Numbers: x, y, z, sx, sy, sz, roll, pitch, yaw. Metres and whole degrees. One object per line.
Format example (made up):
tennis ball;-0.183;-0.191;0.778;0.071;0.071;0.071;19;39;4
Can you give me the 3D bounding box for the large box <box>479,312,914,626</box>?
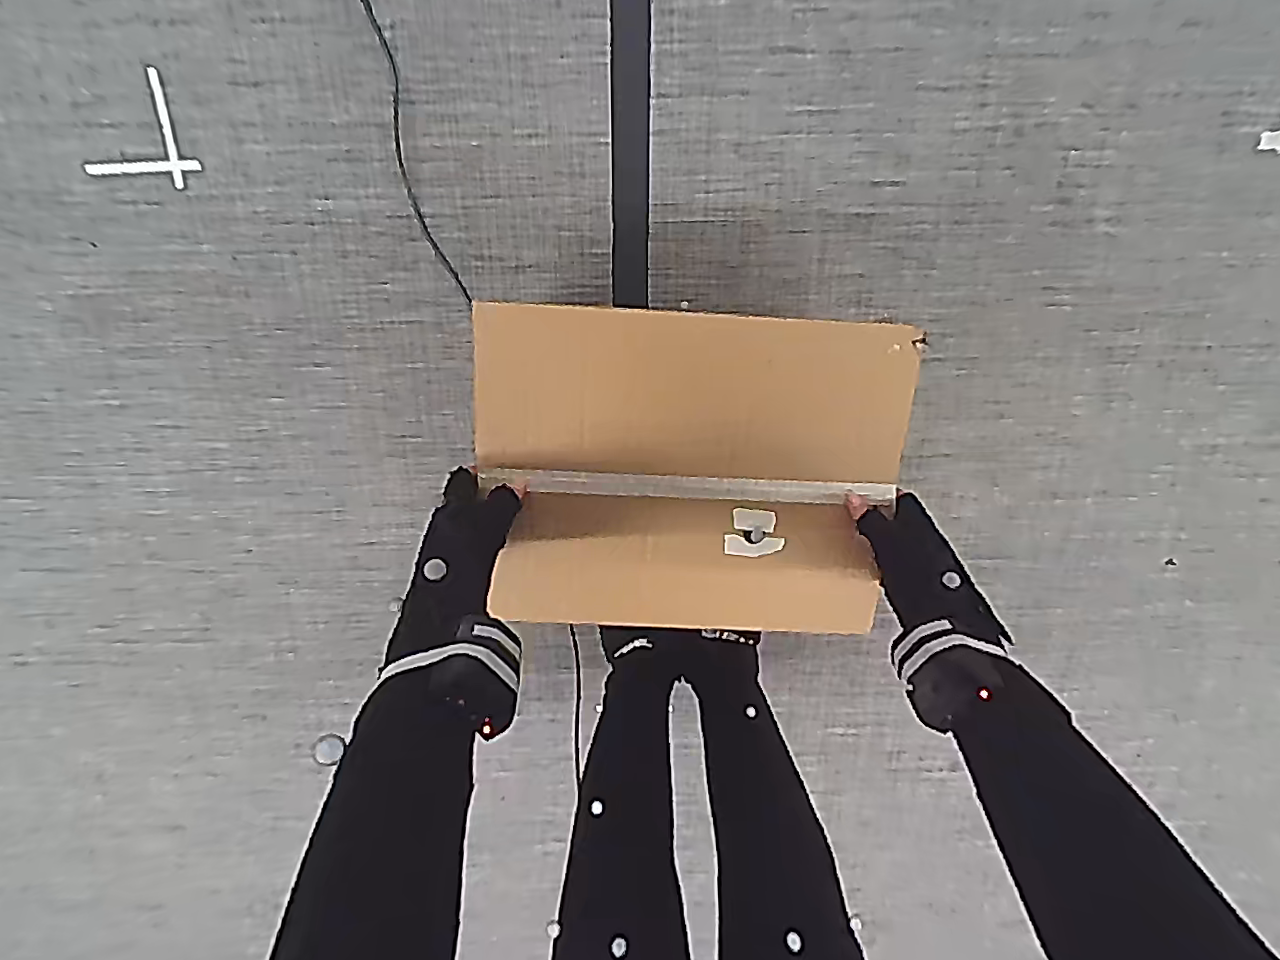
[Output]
large box;0.045;-0.034;0.668;0.408;0.320;0.320;2;105;-2
